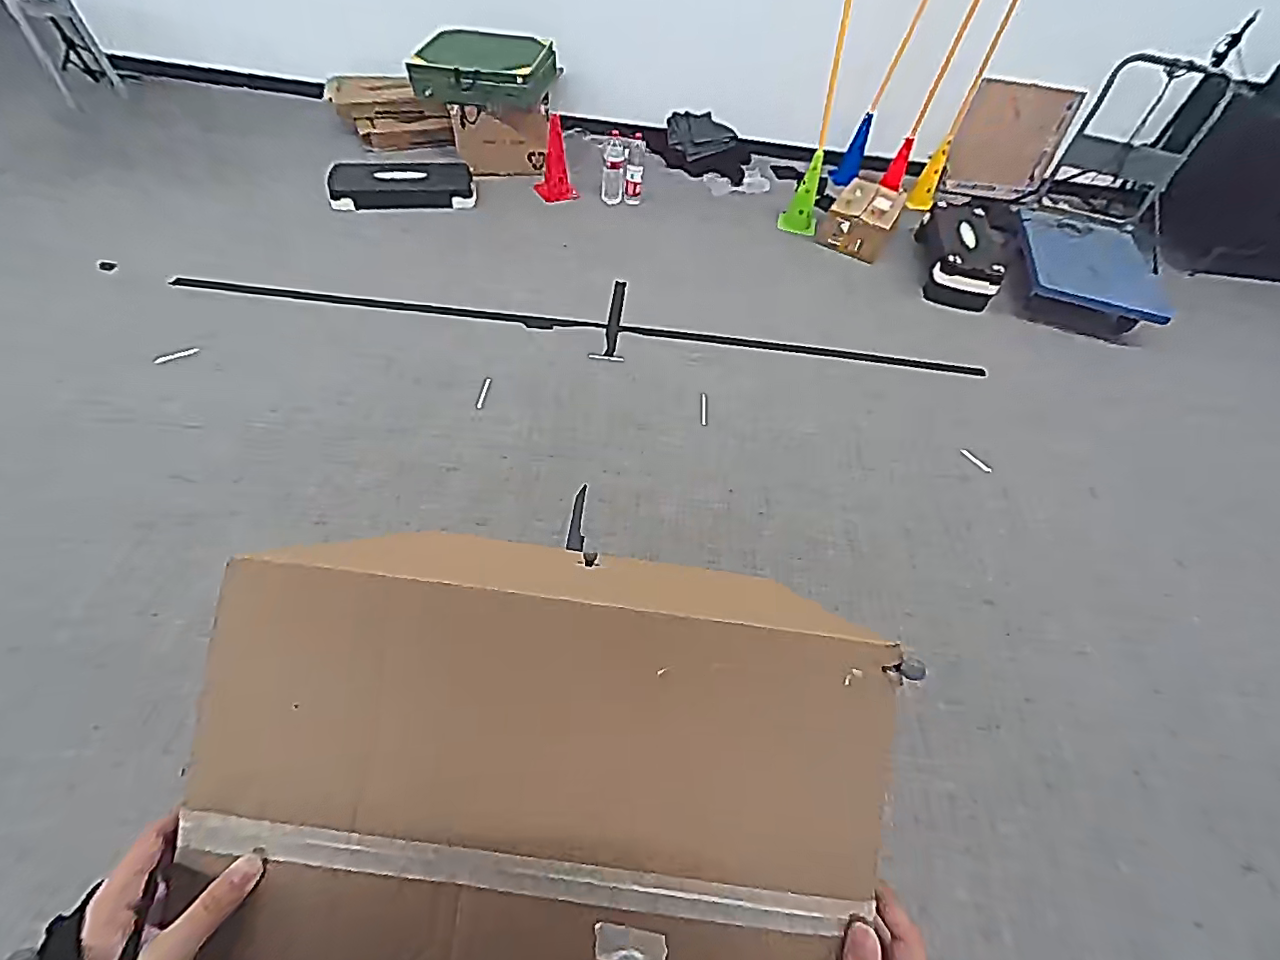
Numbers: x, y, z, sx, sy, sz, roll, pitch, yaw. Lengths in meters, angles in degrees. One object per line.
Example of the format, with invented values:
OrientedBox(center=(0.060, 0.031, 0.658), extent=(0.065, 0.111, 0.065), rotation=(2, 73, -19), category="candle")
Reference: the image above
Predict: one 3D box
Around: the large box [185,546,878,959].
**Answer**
OrientedBox(center=(-0.068, 0.237, 0.477), extent=(0.408, 0.320, 0.320), rotation=(7, 88, -1), category="large box")
